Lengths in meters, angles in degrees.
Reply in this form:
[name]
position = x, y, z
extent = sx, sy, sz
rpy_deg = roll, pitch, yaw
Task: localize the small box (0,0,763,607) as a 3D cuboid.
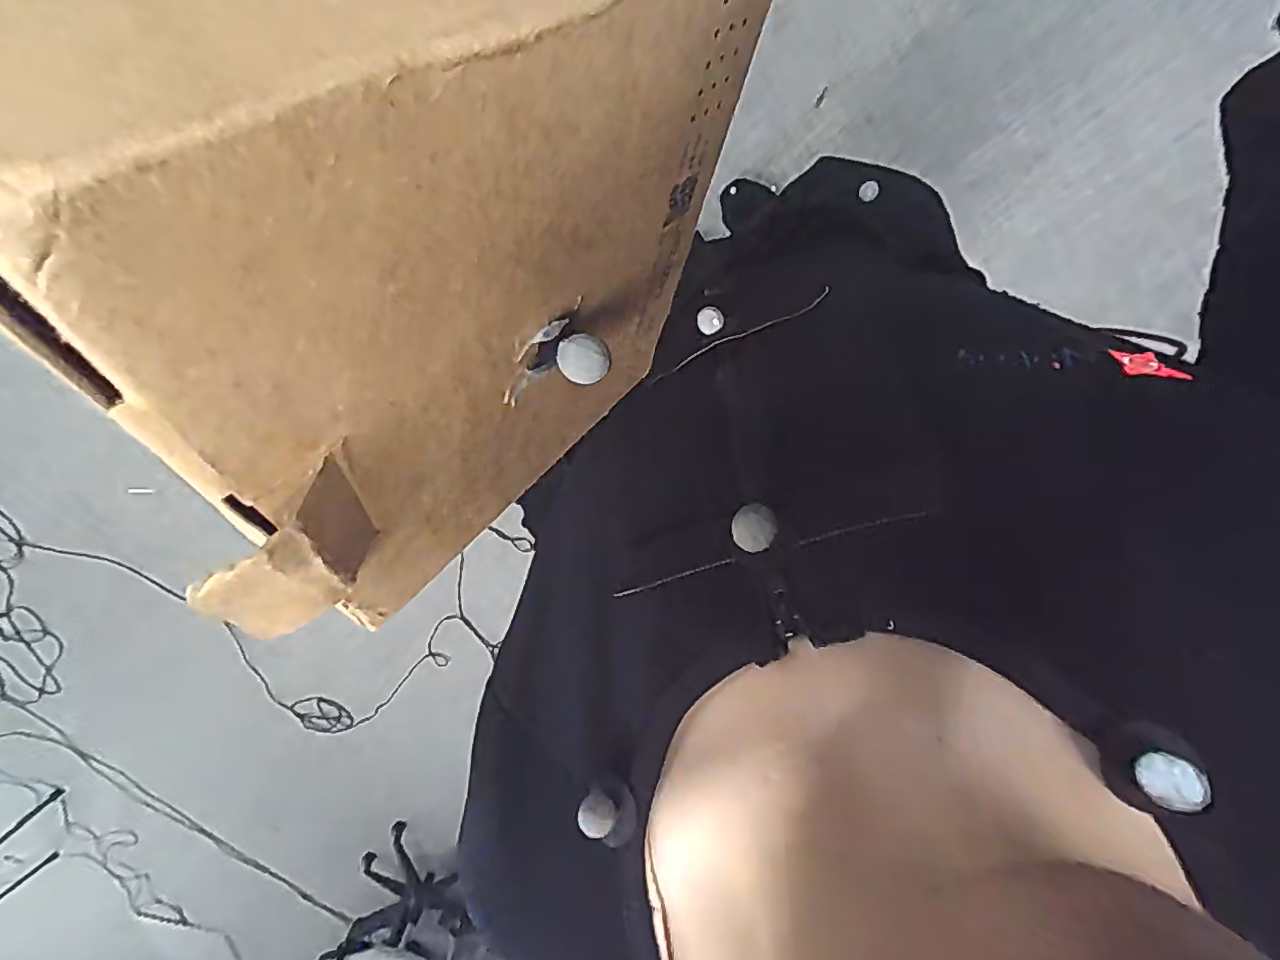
[small box]
position = -0.091, -0.094, 0.175
extent = 0.179, 0.176, 0.168
rpy_deg = 39, 150, 8
